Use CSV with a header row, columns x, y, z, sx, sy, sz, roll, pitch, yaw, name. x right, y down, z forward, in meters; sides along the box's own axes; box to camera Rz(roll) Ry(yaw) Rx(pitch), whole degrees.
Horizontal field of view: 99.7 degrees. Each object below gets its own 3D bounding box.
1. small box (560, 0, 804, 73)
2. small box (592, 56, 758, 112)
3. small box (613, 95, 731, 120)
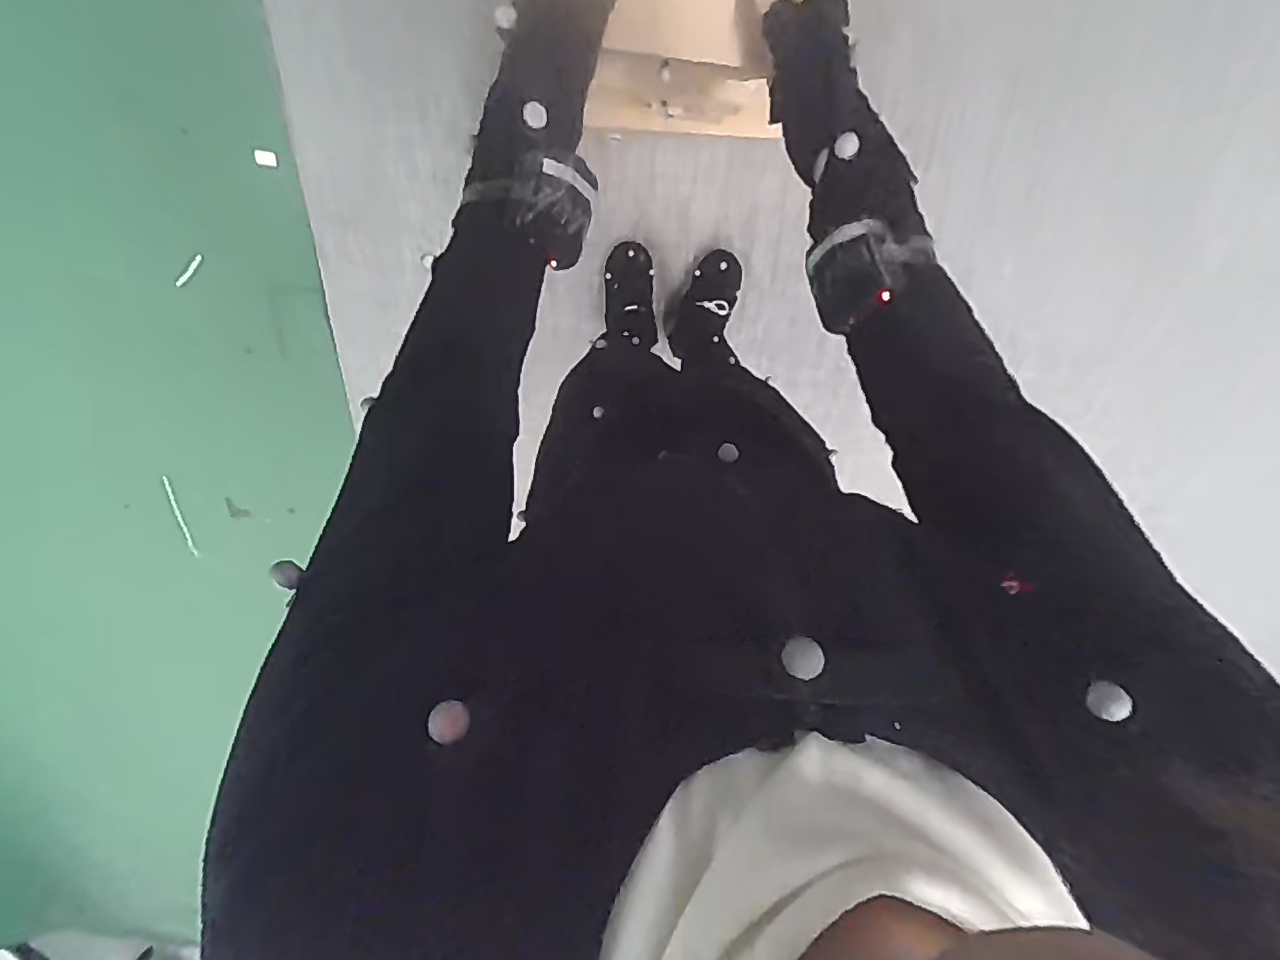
x,y,z,sx,sy,sz,roll,pitch,yaw,name
0.034,-0.428,0.421,0.179,0.176,0.168,3,127,-4,small box
0.053,-0.523,0.606,0.179,0.176,0.168,10,121,4,small box
0.062,-0.610,0.745,0.168,0.176,0.179,8,122,2,small box
